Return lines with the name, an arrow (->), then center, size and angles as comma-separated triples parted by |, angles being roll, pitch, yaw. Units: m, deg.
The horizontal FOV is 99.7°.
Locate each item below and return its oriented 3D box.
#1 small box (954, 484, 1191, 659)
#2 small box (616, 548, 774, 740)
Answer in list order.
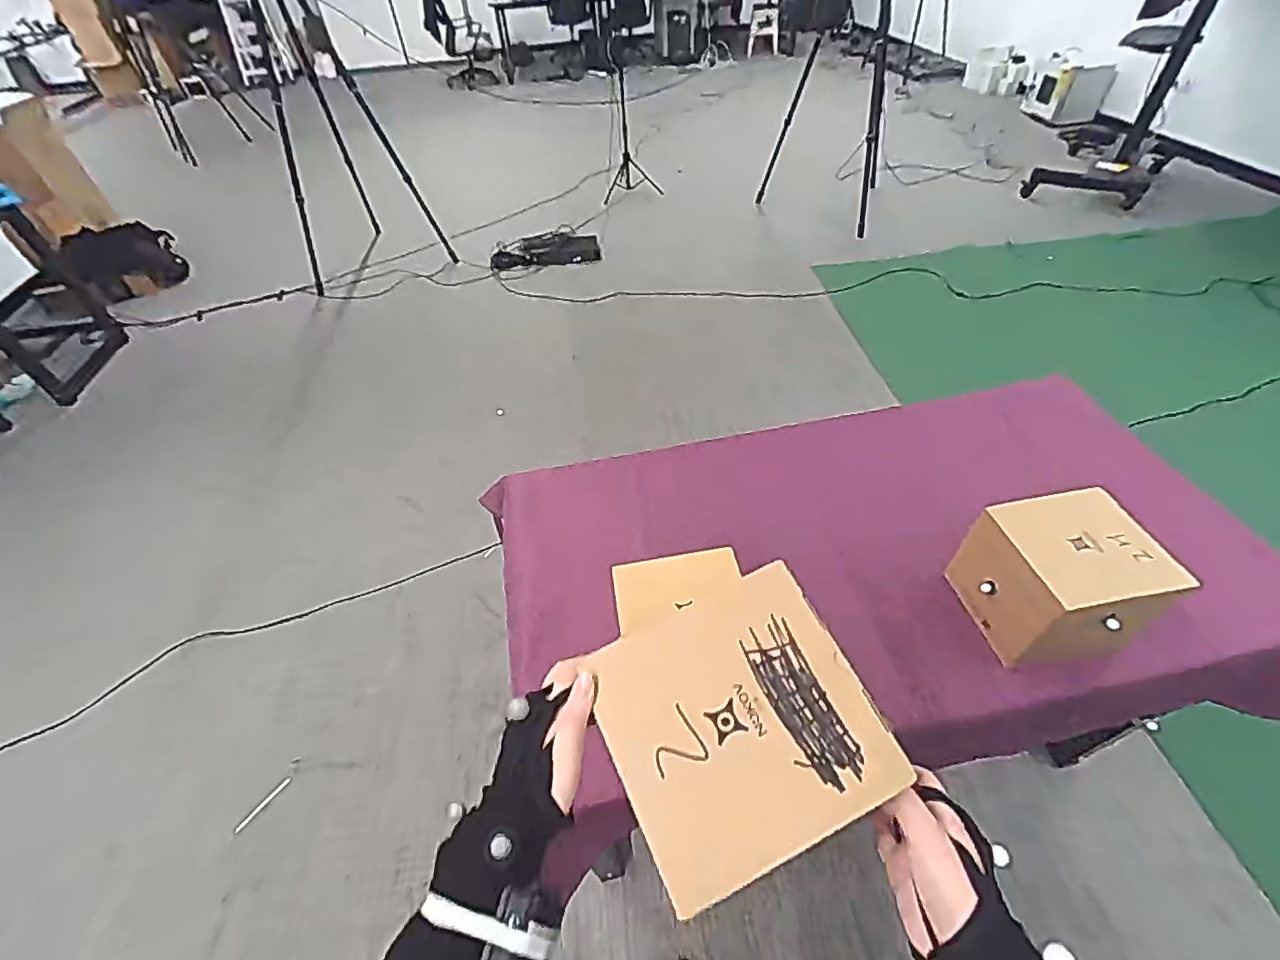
small box -> 0.576, 0.132, 0.758 | 0.179, 0.176, 0.168 | -10, 48, -4
small box -> 0.063, 0.219, 0.723 | 0.168, 0.176, 0.179 | -10, 48, -5
